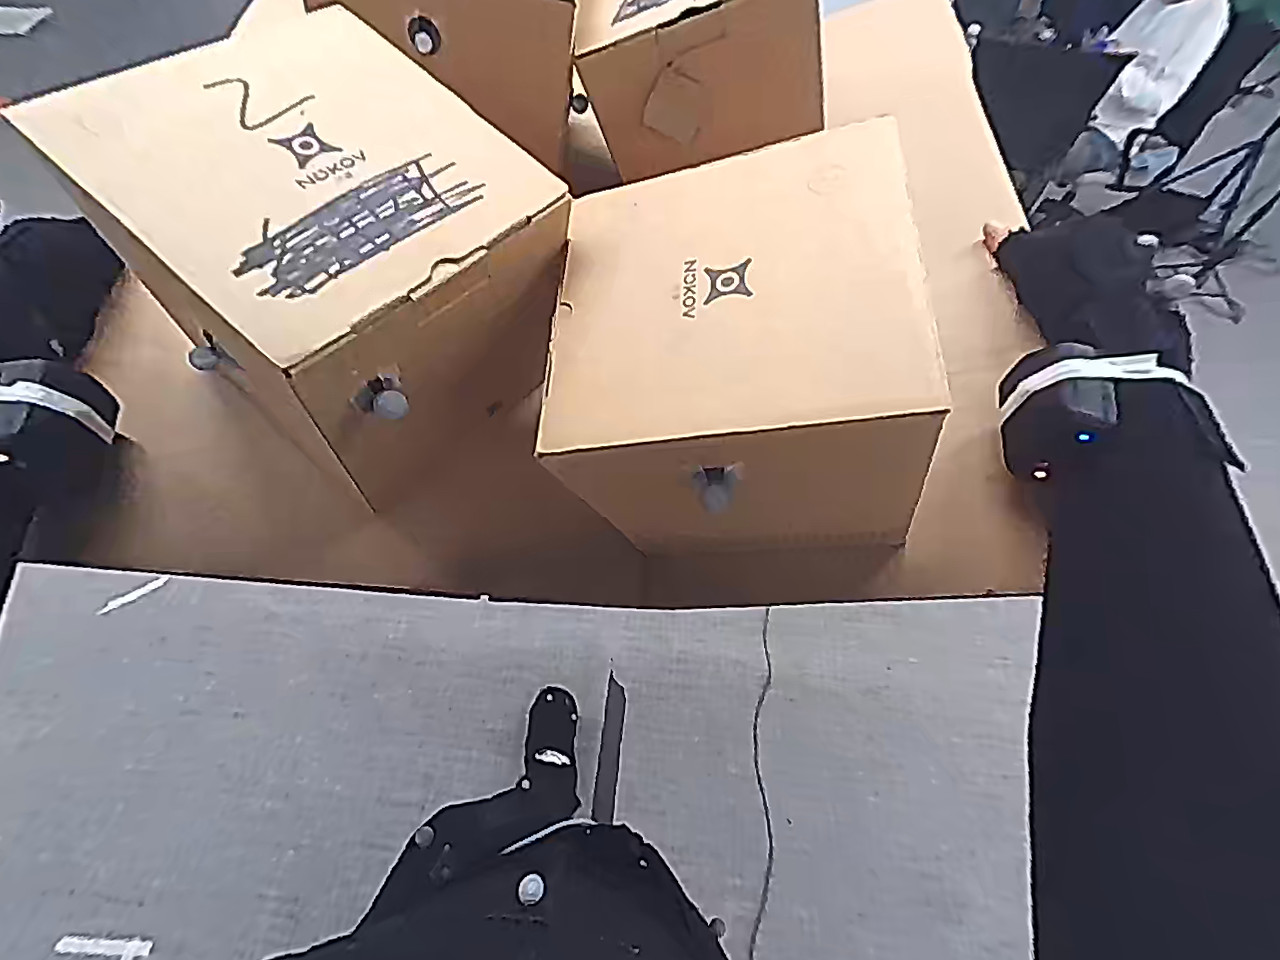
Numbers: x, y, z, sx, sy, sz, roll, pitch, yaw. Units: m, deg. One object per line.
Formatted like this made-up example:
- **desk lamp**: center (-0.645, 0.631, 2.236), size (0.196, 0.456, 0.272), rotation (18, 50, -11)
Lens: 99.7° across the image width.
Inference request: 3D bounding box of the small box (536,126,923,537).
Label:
- **small box**: center (0.062, -0.066, 0.337), size (0.179, 0.176, 0.168), rotation (-4, 66, 20)
